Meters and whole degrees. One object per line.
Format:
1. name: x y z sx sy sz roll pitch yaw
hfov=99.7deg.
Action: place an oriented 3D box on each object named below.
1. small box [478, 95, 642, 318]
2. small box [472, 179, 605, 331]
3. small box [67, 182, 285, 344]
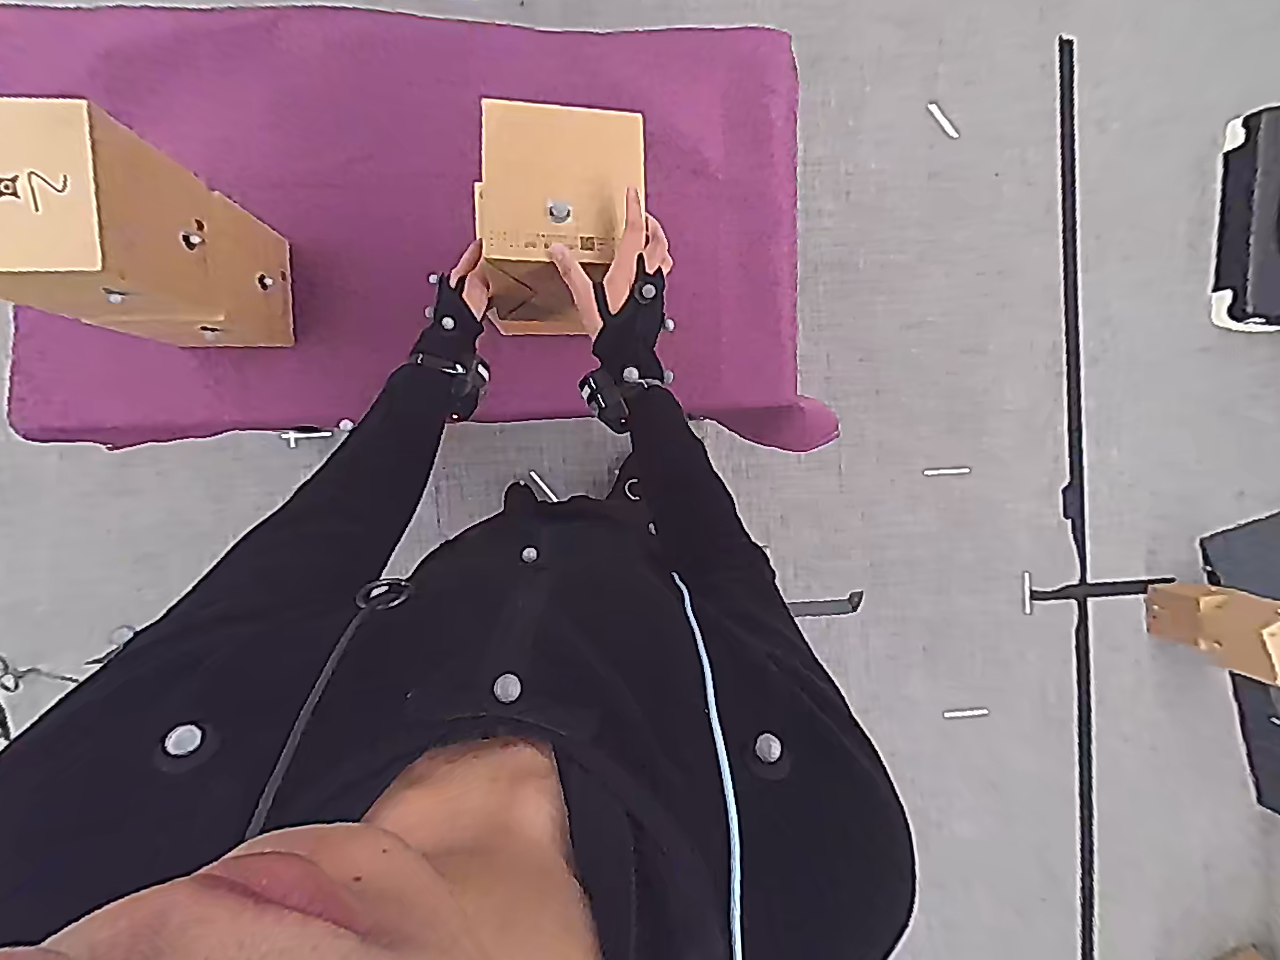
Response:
1. small box: -0.091 -0.294 0.624 0.168 0.179 0.176 -2 88 -9
2. small box: -0.140 -0.320 0.800 0.179 0.176 0.168 -2 93 -6
3. small box: -0.626 -0.289 0.756 0.179 0.176 0.168 -1 93 -5
